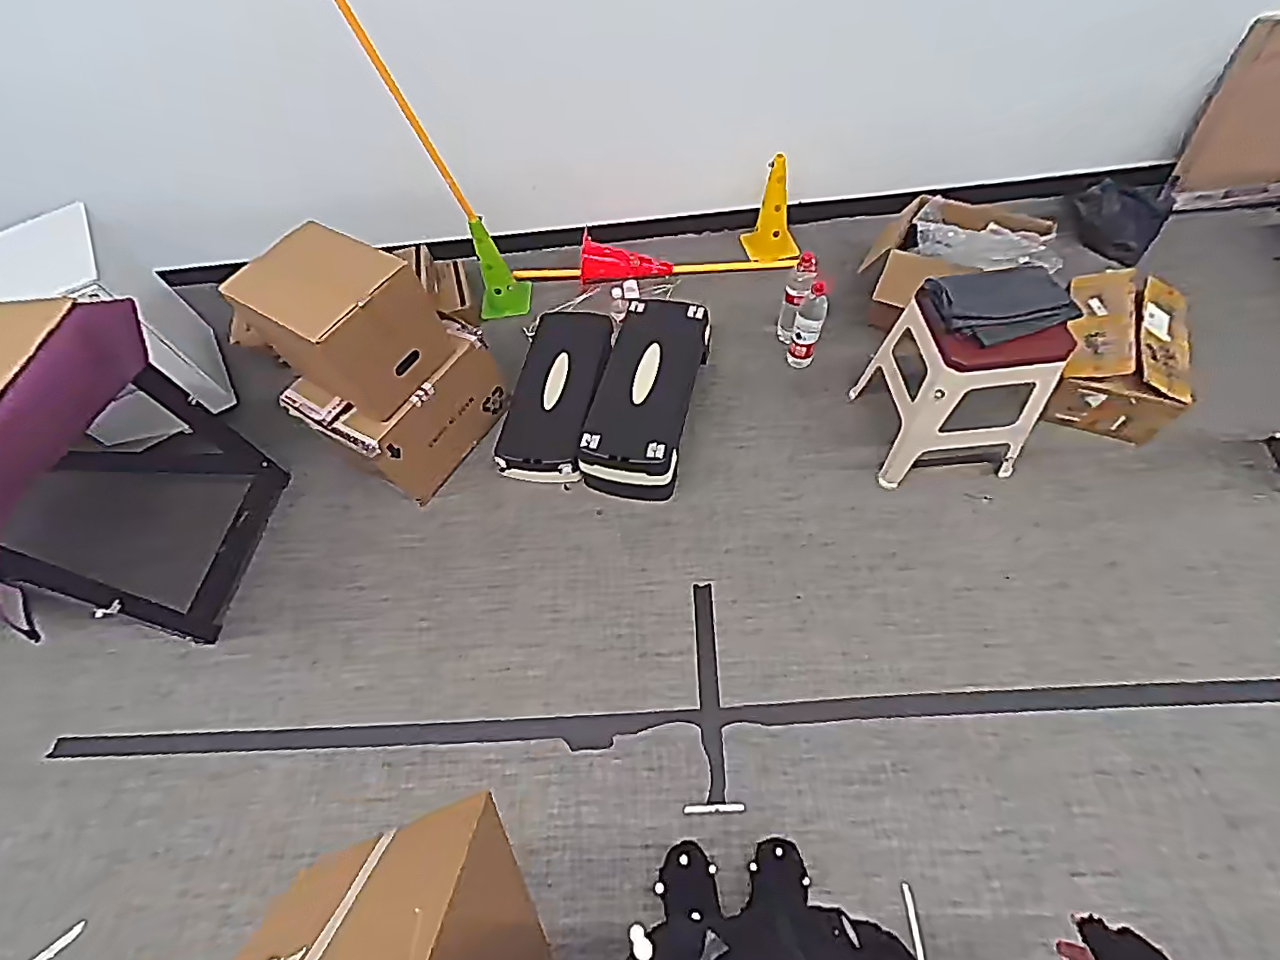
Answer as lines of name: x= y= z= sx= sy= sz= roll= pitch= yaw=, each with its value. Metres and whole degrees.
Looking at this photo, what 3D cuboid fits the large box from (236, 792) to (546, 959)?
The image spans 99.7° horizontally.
large box: x=-0.322 y=0.699 z=0.686 sx=0.320 sy=0.408 sz=0.320 roll=-22 pitch=89 yaw=-7
